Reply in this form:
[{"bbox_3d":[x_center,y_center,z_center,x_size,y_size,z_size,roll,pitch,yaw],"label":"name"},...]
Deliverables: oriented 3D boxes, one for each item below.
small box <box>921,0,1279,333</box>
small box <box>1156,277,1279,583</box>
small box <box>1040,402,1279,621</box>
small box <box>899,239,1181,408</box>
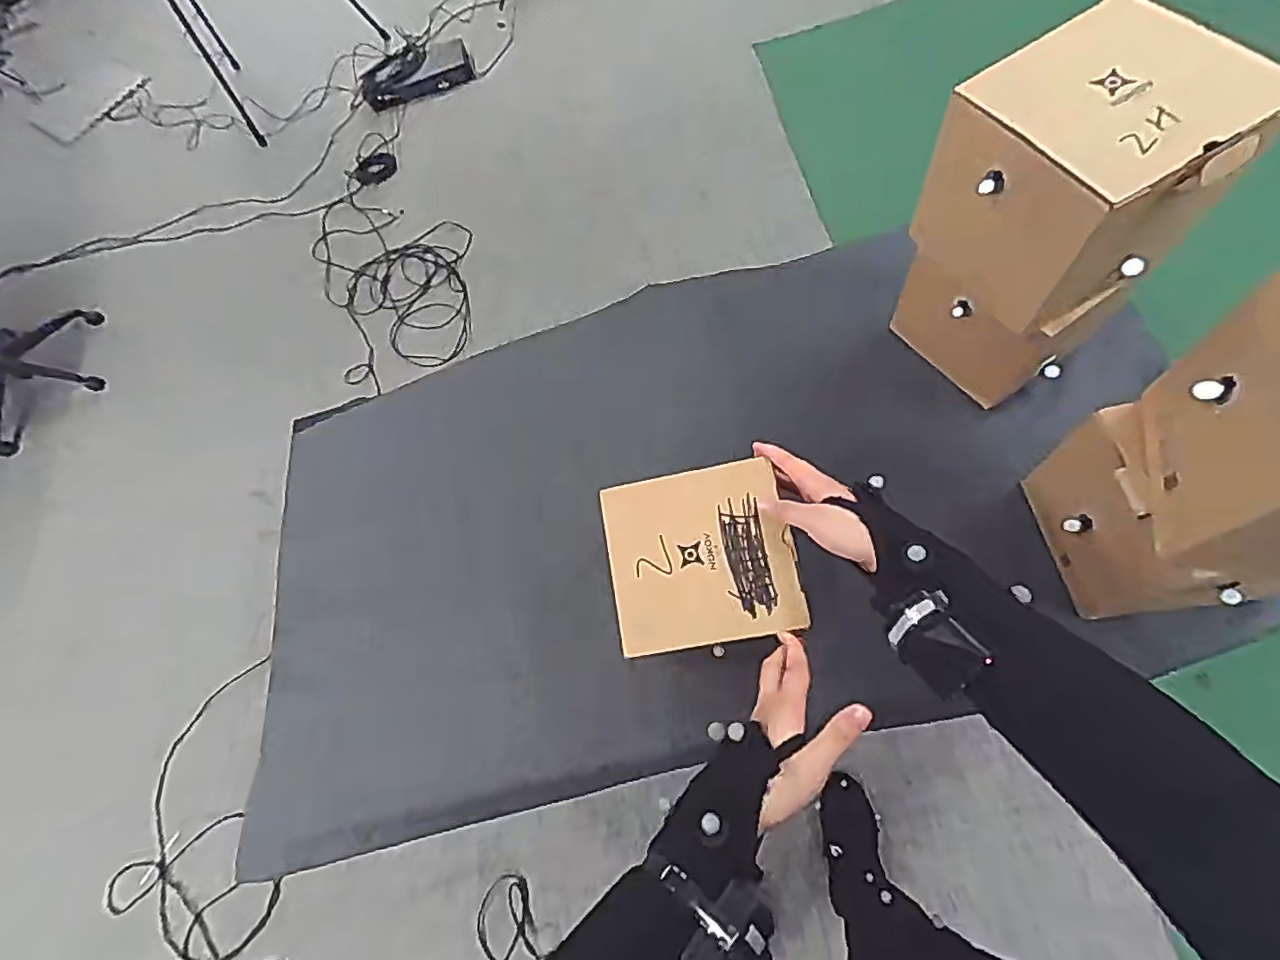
[{"bbox_3d":[0.392,-0.272,0.491,0.168,0.176,0.179,-30,66,3],"label":"small box"},{"bbox_3d":[0.498,-0.021,0.364,0.179,0.176,0.168,10,68,17],"label":"small box"},{"bbox_3d":[0.525,0.032,0.517,0.179,0.176,0.168,-10,64,9],"label":"small box"},{"bbox_3d":[0.442,-0.219,0.640,0.168,0.176,0.179,-35,67,-1],"label":"small box"}]
